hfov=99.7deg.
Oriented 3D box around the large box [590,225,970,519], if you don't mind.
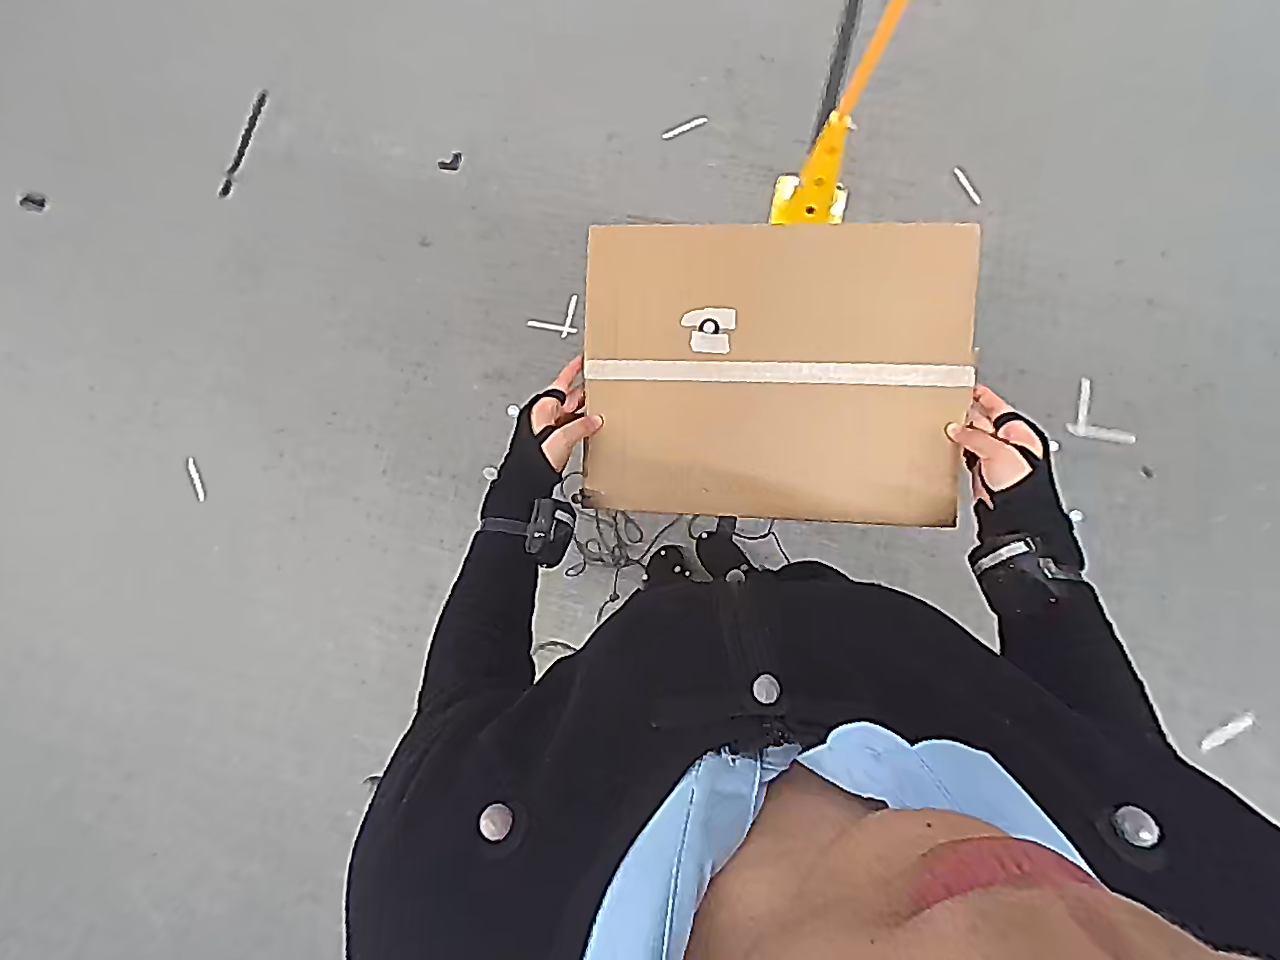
[{"bbox_3d":[0.163,-0.129,0.742,0.408,0.320,0.320,3,93,7],"label":"large box"}]
